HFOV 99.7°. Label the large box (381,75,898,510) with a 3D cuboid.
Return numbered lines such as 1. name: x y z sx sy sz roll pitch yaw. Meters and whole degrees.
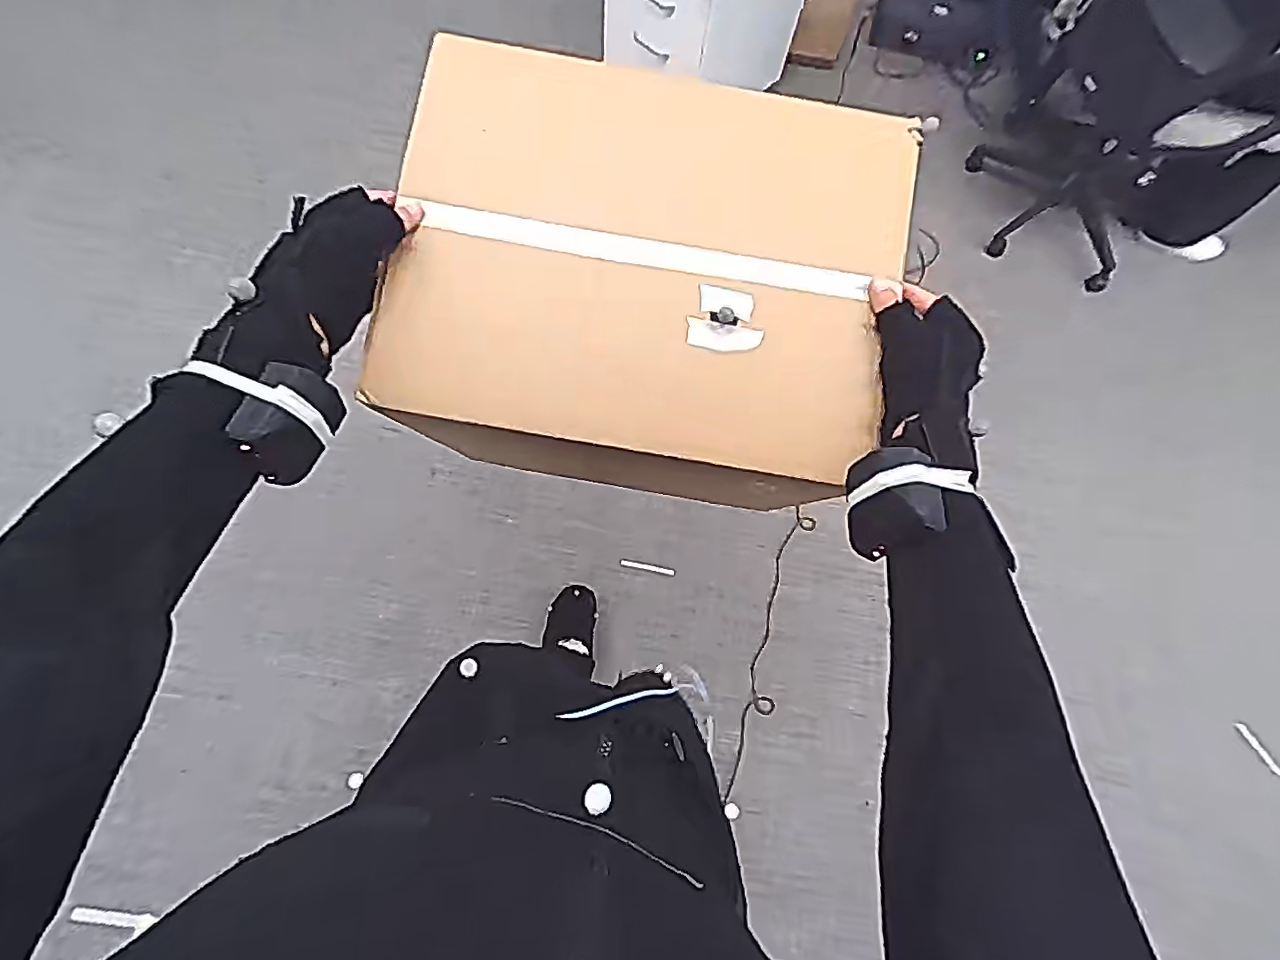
1. large box: 0.002 -0.155 0.599 0.408 0.320 0.320 10 84 -1
